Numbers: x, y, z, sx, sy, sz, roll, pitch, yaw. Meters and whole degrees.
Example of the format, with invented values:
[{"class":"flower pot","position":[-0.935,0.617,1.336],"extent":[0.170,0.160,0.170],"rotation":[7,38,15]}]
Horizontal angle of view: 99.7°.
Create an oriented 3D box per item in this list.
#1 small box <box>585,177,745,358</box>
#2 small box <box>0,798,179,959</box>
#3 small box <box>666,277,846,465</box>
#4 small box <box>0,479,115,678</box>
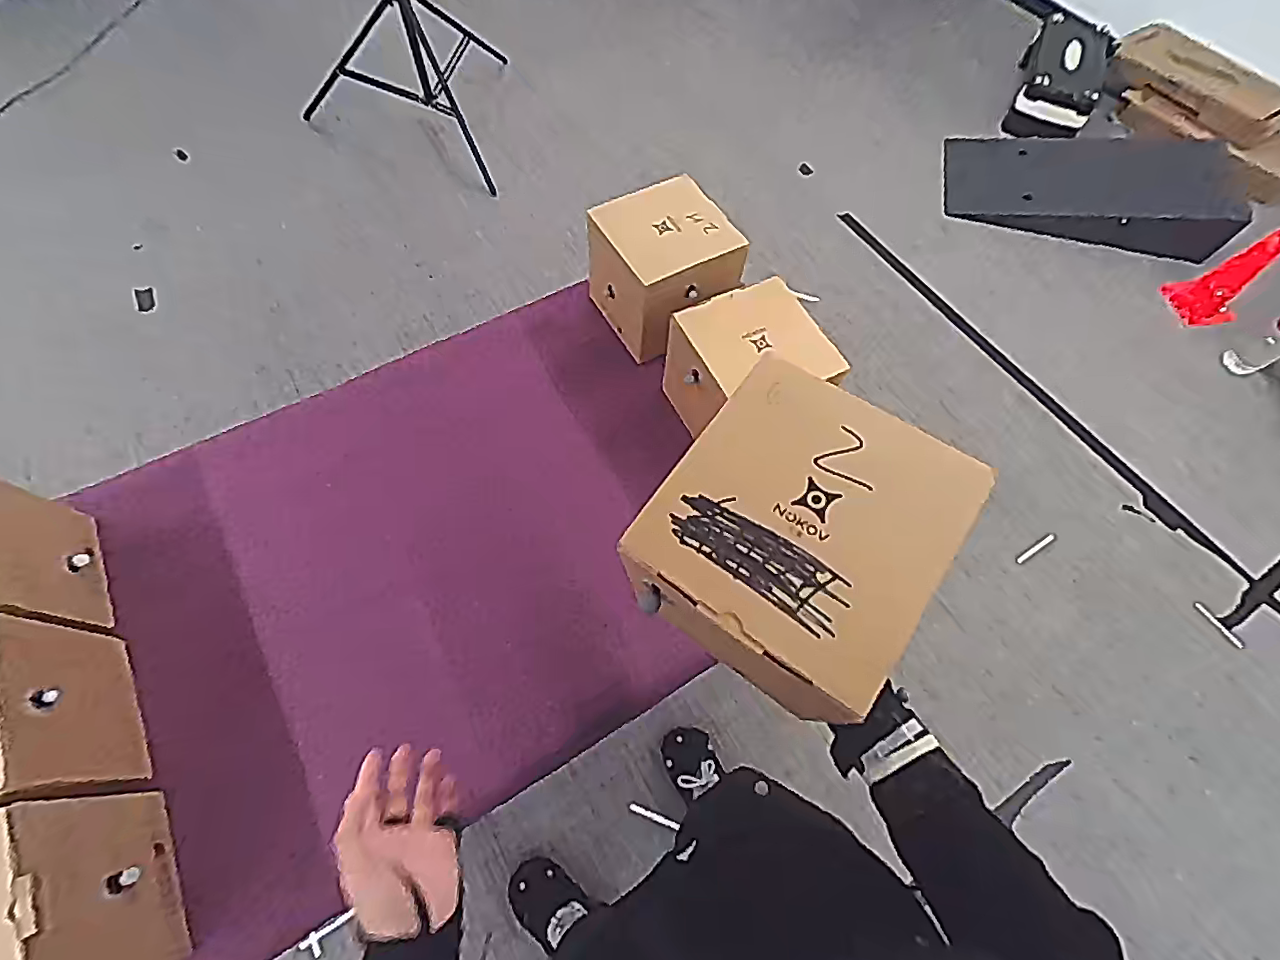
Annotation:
[{"class":"small box","position":[0.032,-0.318,0.831],"extent":[0.179,0.176,0.168],"rotation":[-27,70,-15]},{"class":"small box","position":[-0.546,0.403,0.465],"extent":[0.179,0.176,0.168],"rotation":[-27,68,-16]},{"class":"small box","position":[0.148,-0.141,0.760],"extent":[0.168,0.176,0.179],"rotation":[-24,67,-12]},{"class":"small box","position":[-0.743,0.118,0.588],"extent":[0.179,0.176,0.168],"rotation":[-26,71,-15]}]
